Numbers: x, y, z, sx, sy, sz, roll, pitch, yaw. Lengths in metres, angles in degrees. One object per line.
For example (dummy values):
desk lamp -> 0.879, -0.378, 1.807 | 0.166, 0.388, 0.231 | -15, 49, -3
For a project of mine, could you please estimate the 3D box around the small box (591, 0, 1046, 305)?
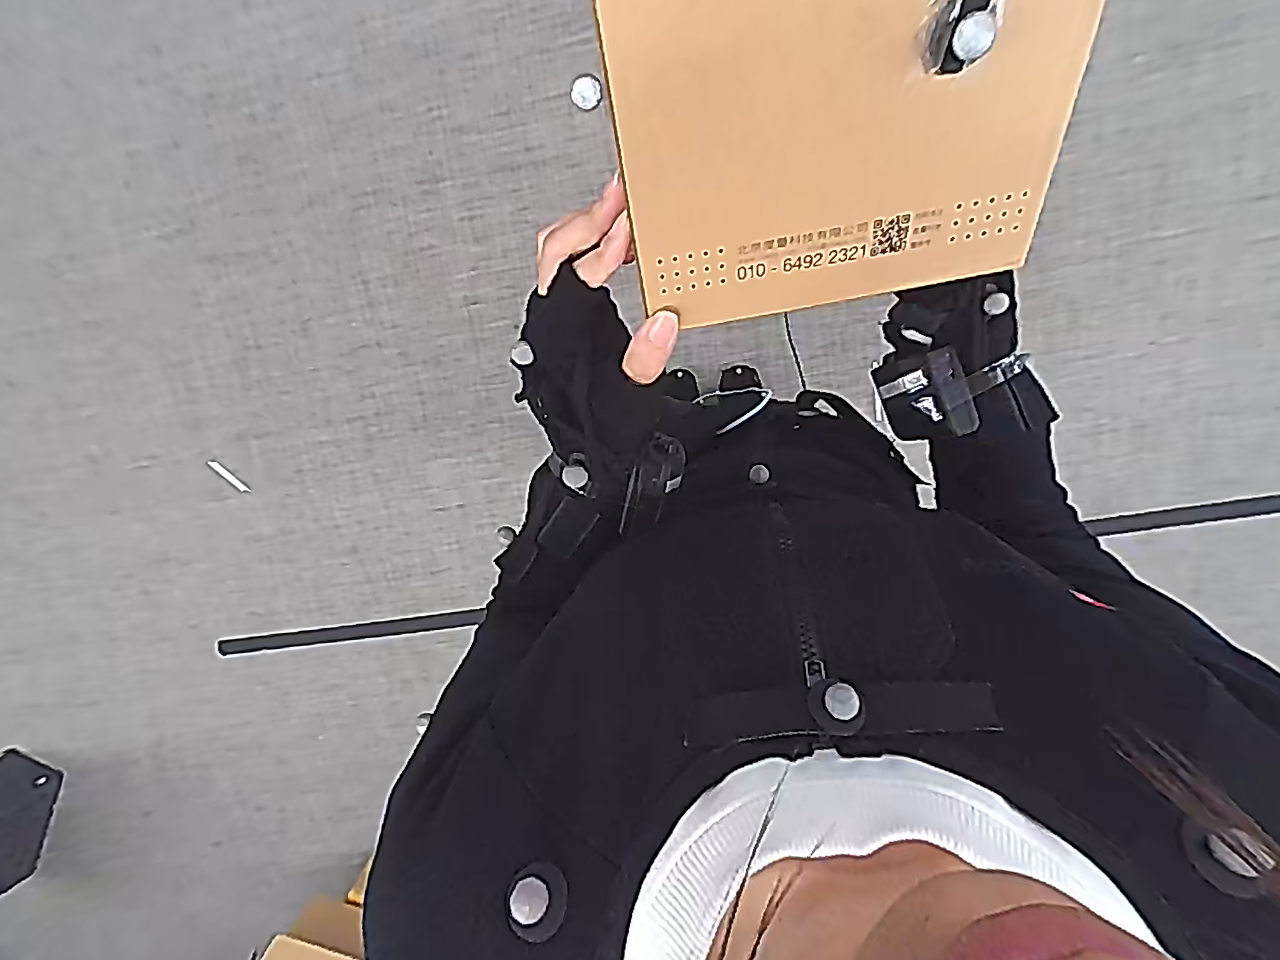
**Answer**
small box -> 0.069, -0.199, 0.267 | 0.168, 0.179, 0.176 | -8, 131, 5
